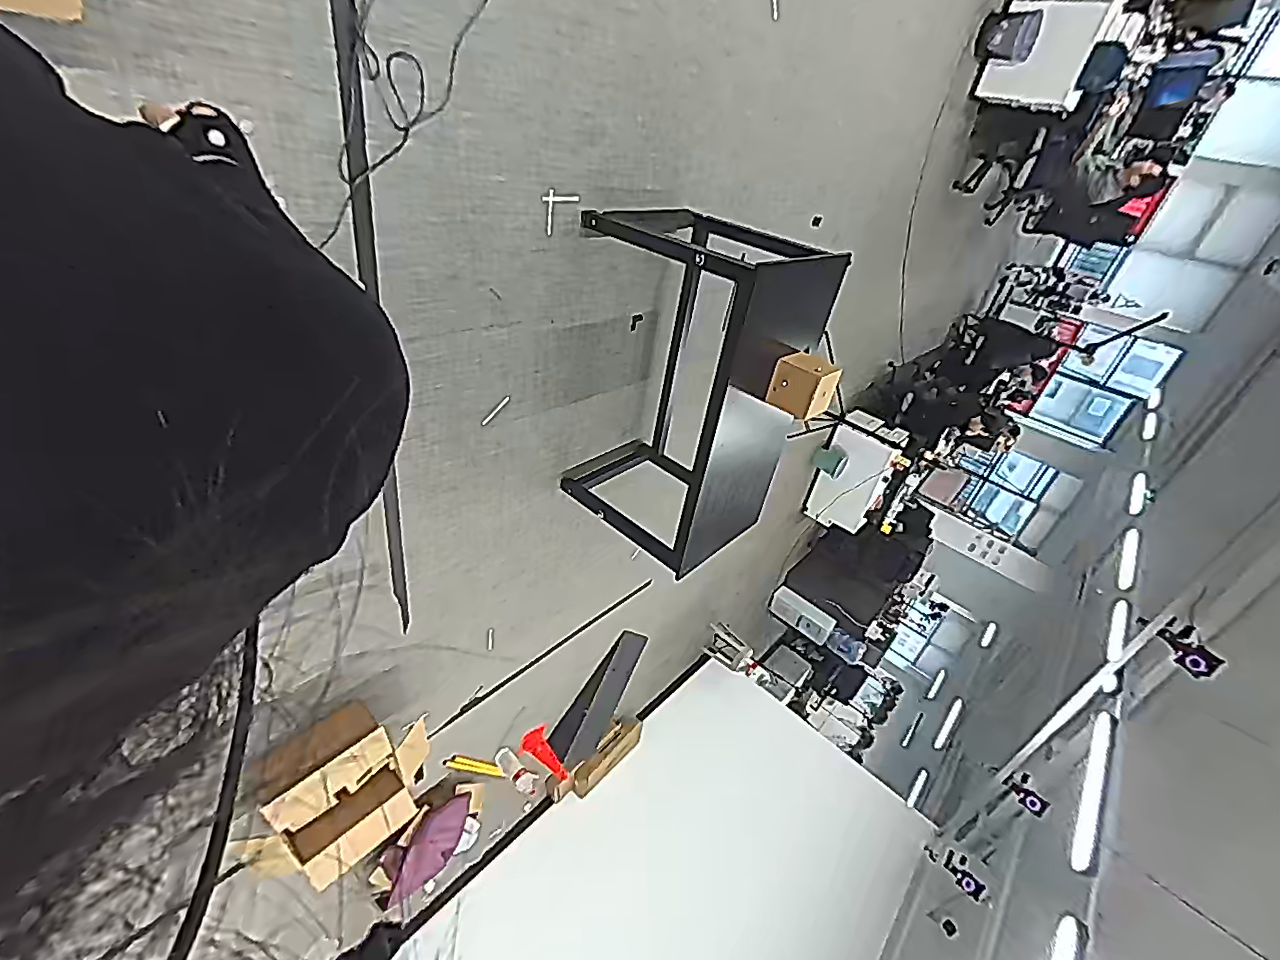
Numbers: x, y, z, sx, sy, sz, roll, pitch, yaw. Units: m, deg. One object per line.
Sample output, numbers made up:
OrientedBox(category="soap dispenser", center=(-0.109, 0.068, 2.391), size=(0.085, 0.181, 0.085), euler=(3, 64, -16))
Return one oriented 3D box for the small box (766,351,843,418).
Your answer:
OrientedBox(category="small box", center=(0.573, -0.340, 1.892), size=(0.179, 0.176, 0.168), euler=(-25, 137, -42))
